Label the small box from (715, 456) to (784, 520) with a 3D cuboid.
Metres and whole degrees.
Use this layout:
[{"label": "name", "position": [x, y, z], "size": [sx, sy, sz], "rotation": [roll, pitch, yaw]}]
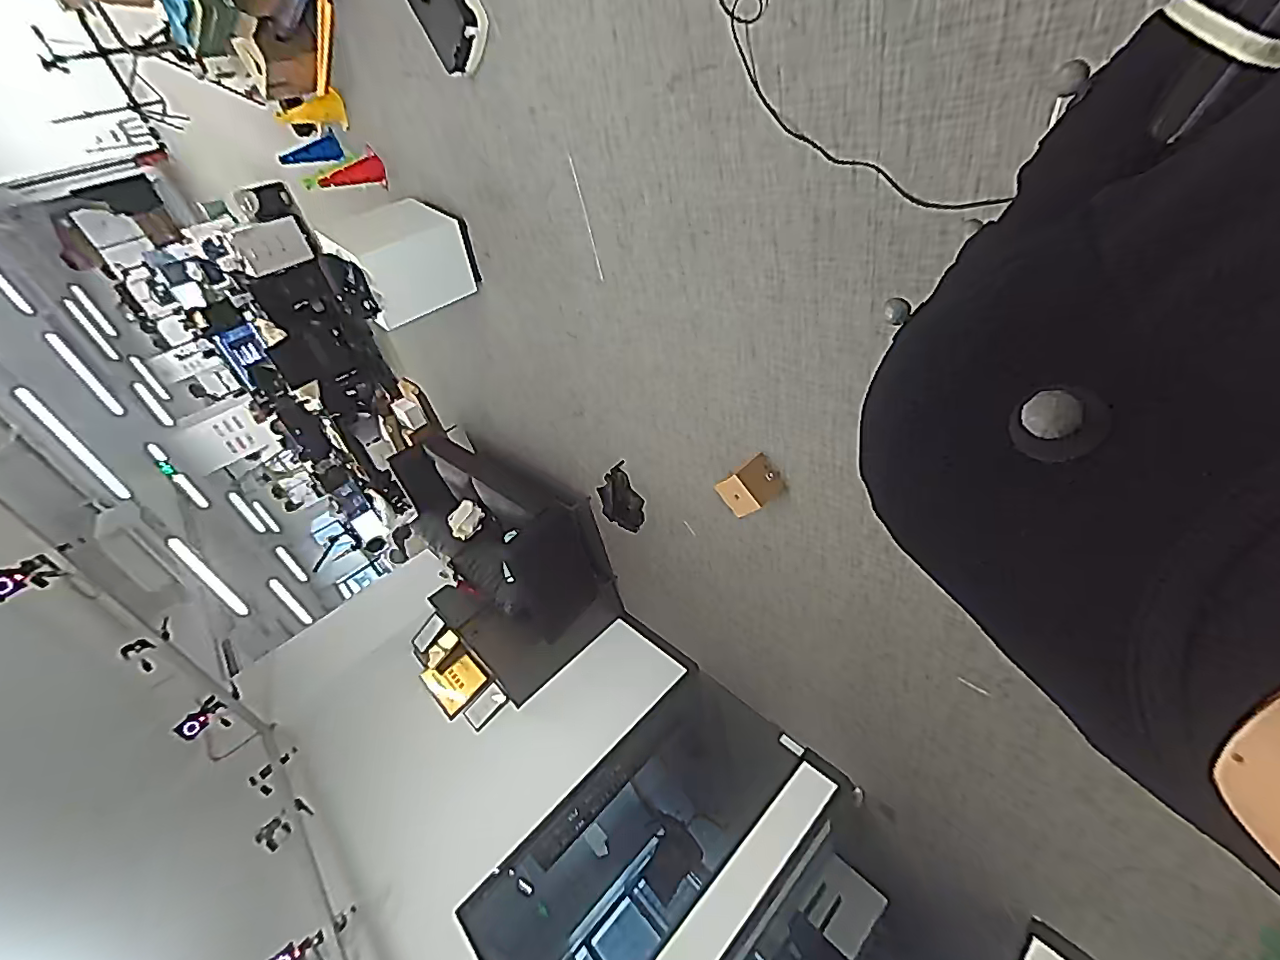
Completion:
[{"label": "small box", "position": [0.441, 0.032, 2.162], "size": [0.168, 0.176, 0.179], "rotation": [52, 152, 1]}]
